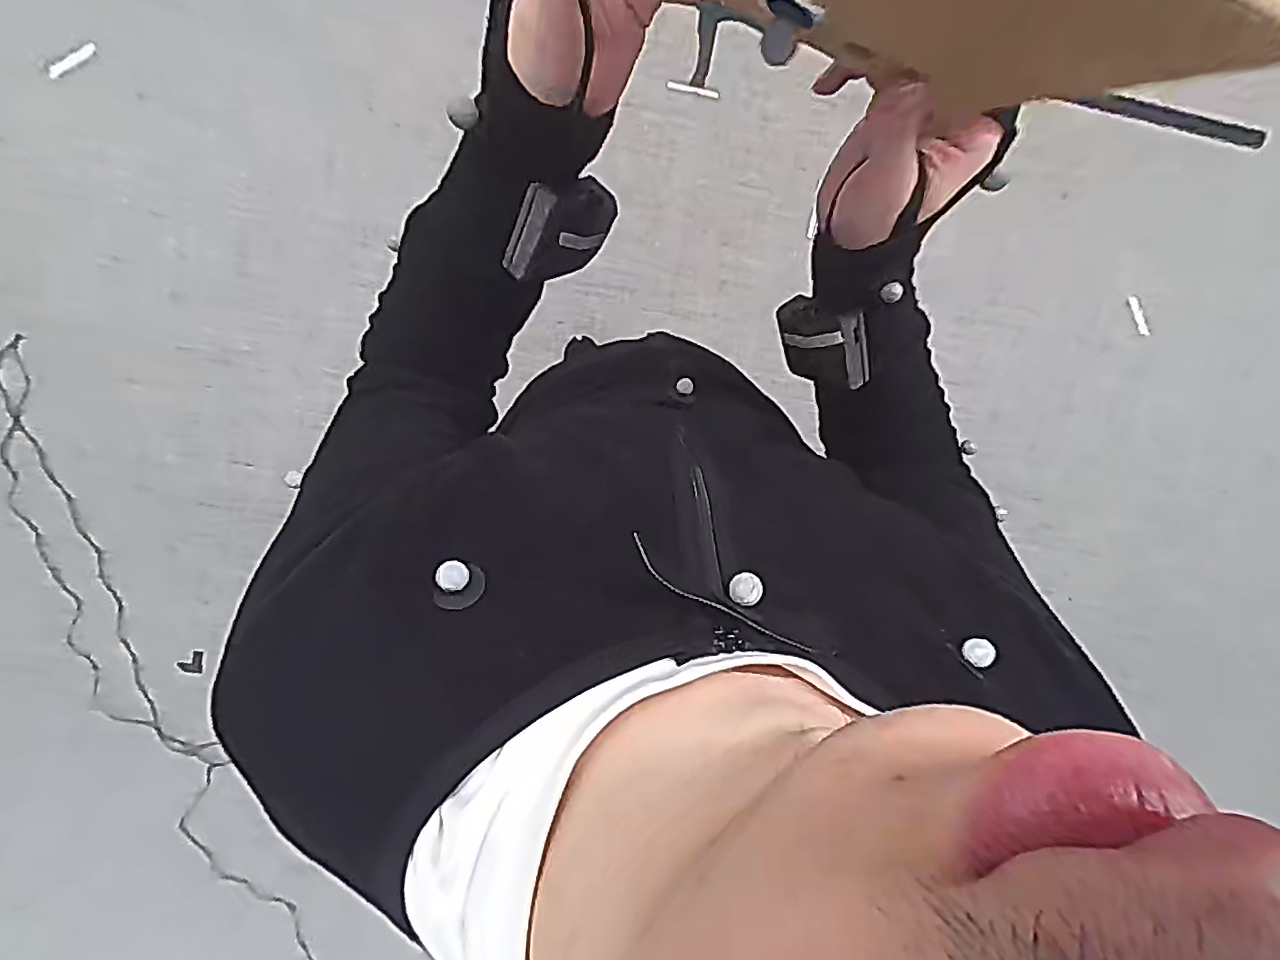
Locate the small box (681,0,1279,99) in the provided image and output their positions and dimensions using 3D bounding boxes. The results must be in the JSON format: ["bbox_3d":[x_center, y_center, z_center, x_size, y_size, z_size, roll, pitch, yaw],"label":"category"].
[{"bbox_3d":[0.098,-0.235,0.143,0.168,0.176,0.179,14,118,-11],"label":"small box"}]
